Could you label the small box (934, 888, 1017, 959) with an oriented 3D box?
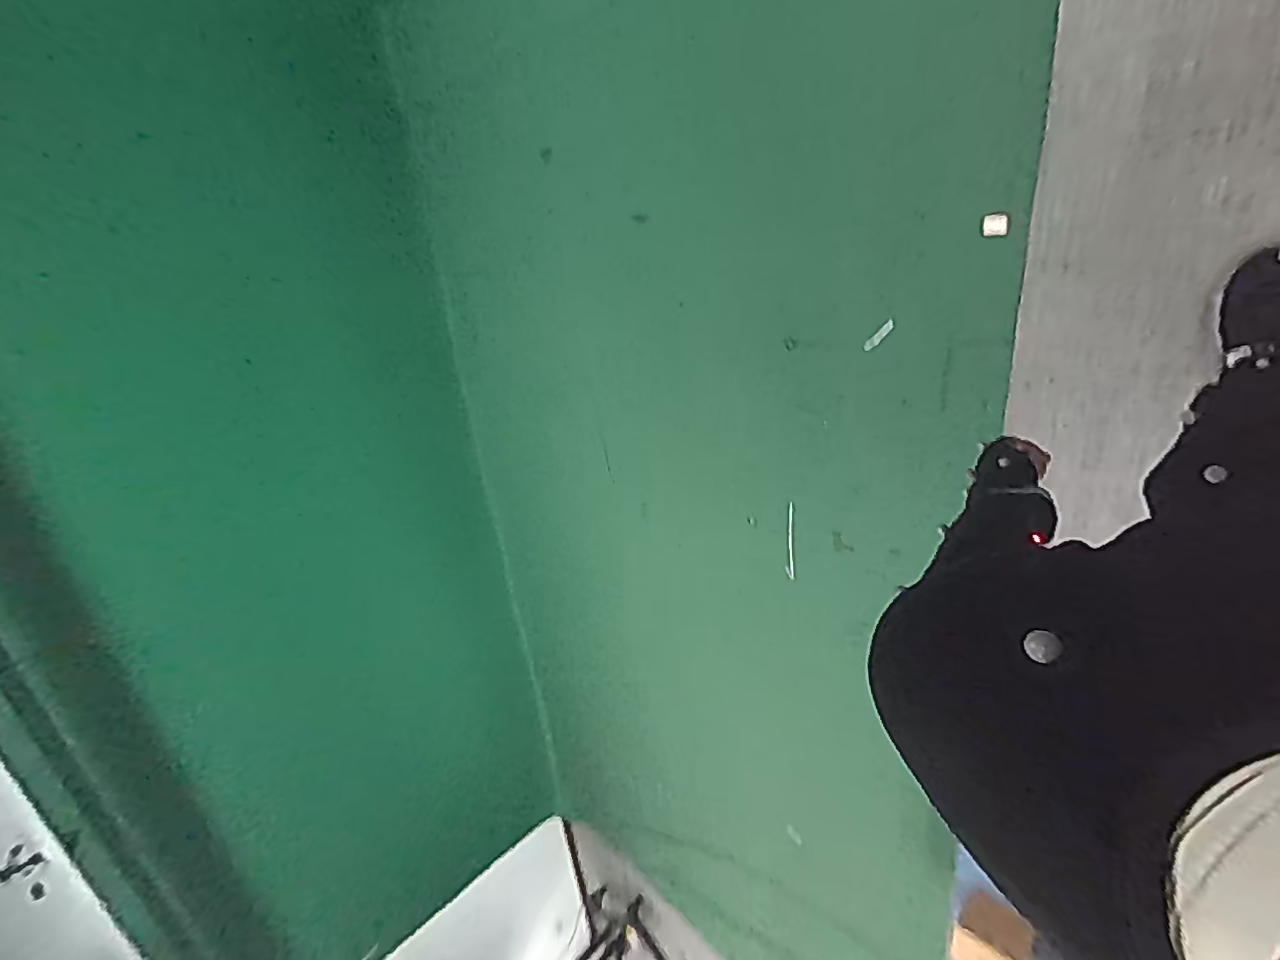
[{"bbox_3d":[1.041,1.431,1.673,0.179,0.176,0.168,16,119,42],"label":"small box"}]
